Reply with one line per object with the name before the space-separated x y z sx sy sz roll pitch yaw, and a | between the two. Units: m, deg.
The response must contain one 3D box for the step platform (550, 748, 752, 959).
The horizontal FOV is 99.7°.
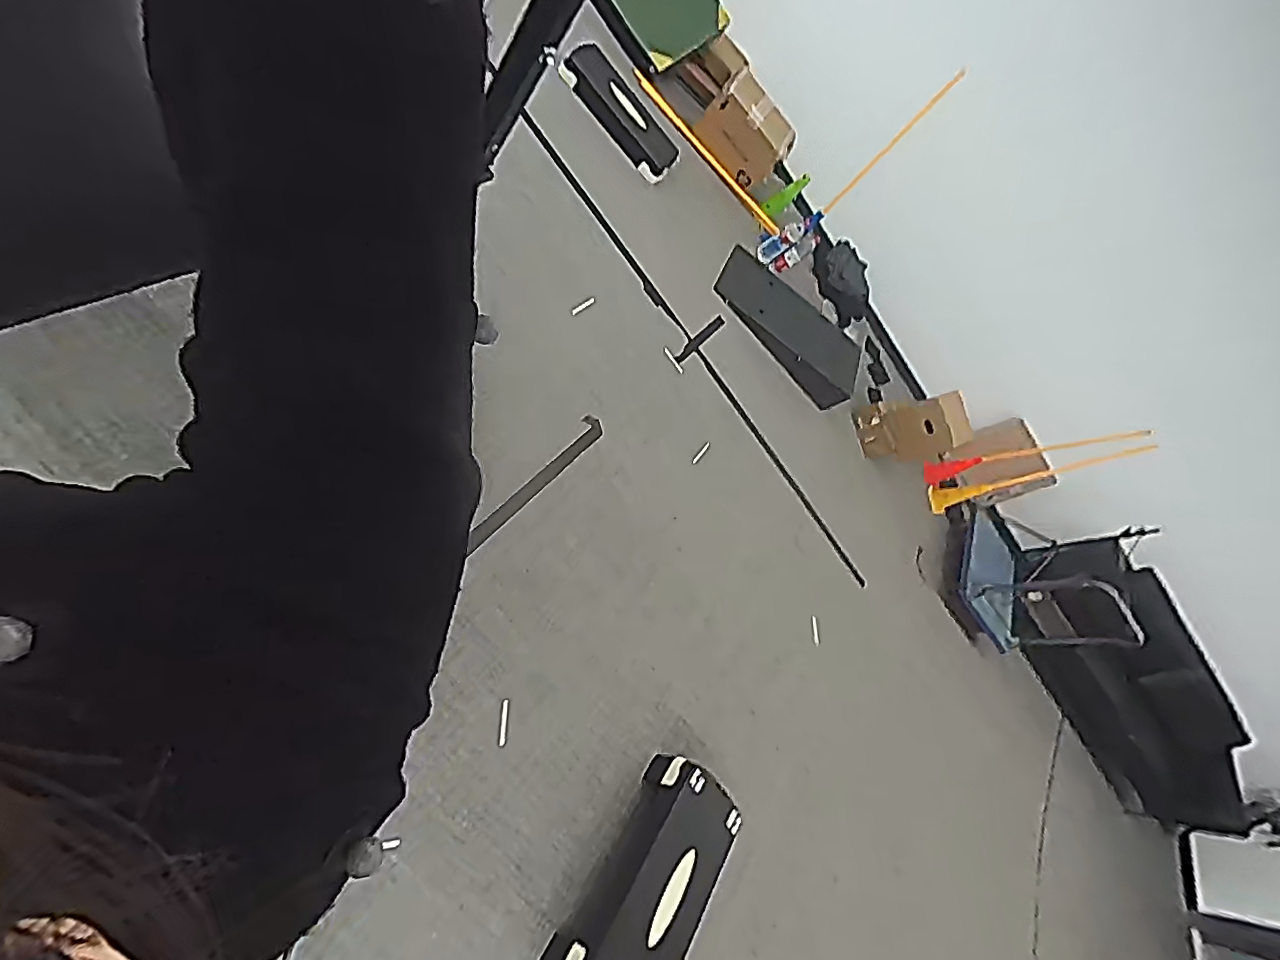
step platform | 0.070 1.152 1.589 0.286 0.204 0.684 56 47 -8
